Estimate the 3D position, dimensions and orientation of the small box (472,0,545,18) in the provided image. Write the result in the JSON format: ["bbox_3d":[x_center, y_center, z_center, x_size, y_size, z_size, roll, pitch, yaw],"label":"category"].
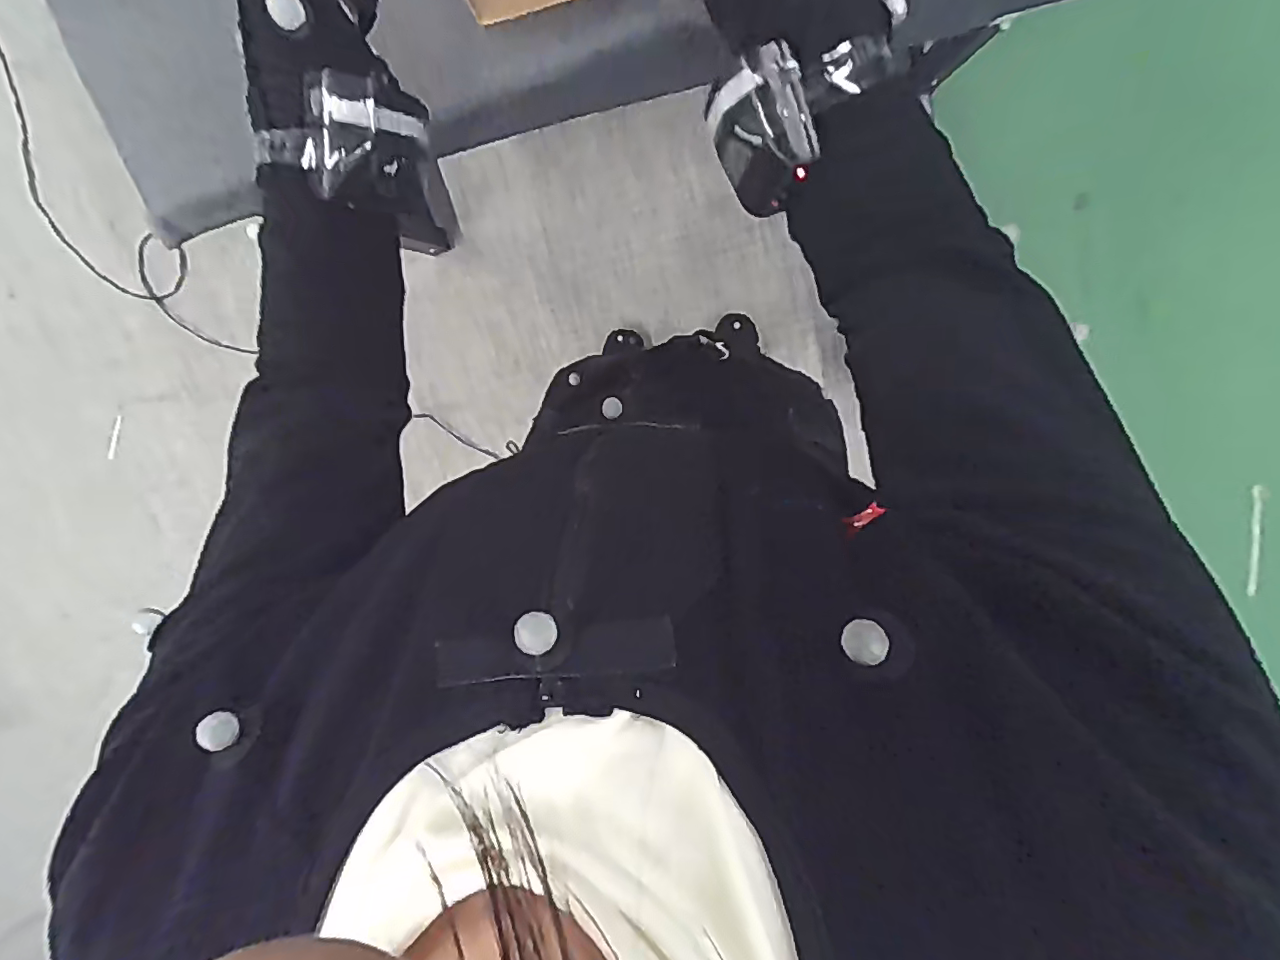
[{"bbox_3d":[-0.100,-0.535,0.446,0.179,0.176,0.168,-10,105,7],"label":"small box"}]
